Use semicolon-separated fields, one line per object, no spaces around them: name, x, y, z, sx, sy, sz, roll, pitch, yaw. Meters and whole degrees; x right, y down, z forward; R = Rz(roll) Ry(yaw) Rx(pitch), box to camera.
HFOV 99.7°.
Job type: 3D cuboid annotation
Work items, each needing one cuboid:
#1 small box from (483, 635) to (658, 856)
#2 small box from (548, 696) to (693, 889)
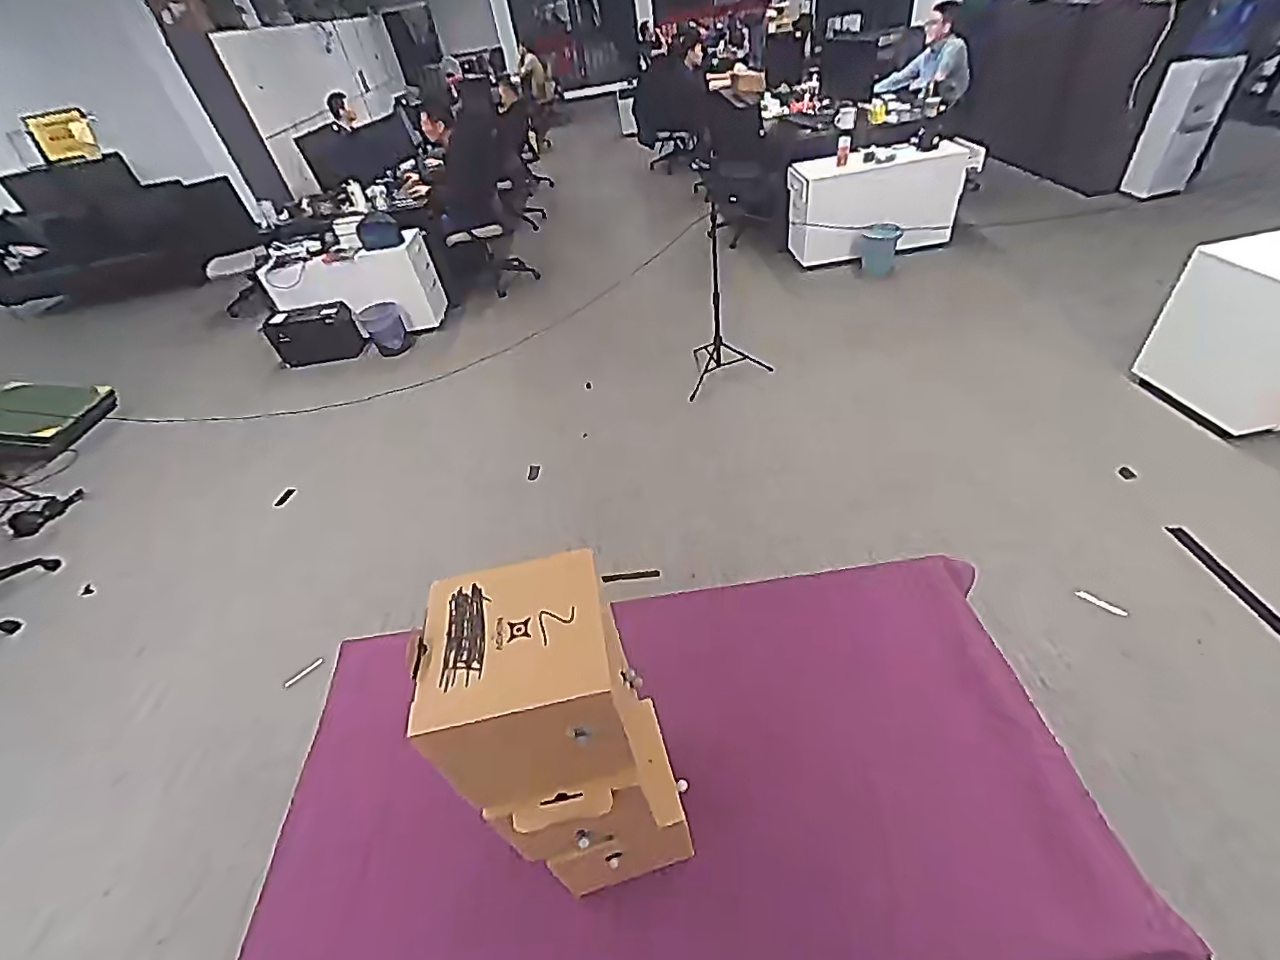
small box;-0.080;0.323;0.660;0.168;0.176;0.179;-13;42;-1
small box;-0.034;0.443;0.765;0.179;0.176;0.168;-16;43;-6
